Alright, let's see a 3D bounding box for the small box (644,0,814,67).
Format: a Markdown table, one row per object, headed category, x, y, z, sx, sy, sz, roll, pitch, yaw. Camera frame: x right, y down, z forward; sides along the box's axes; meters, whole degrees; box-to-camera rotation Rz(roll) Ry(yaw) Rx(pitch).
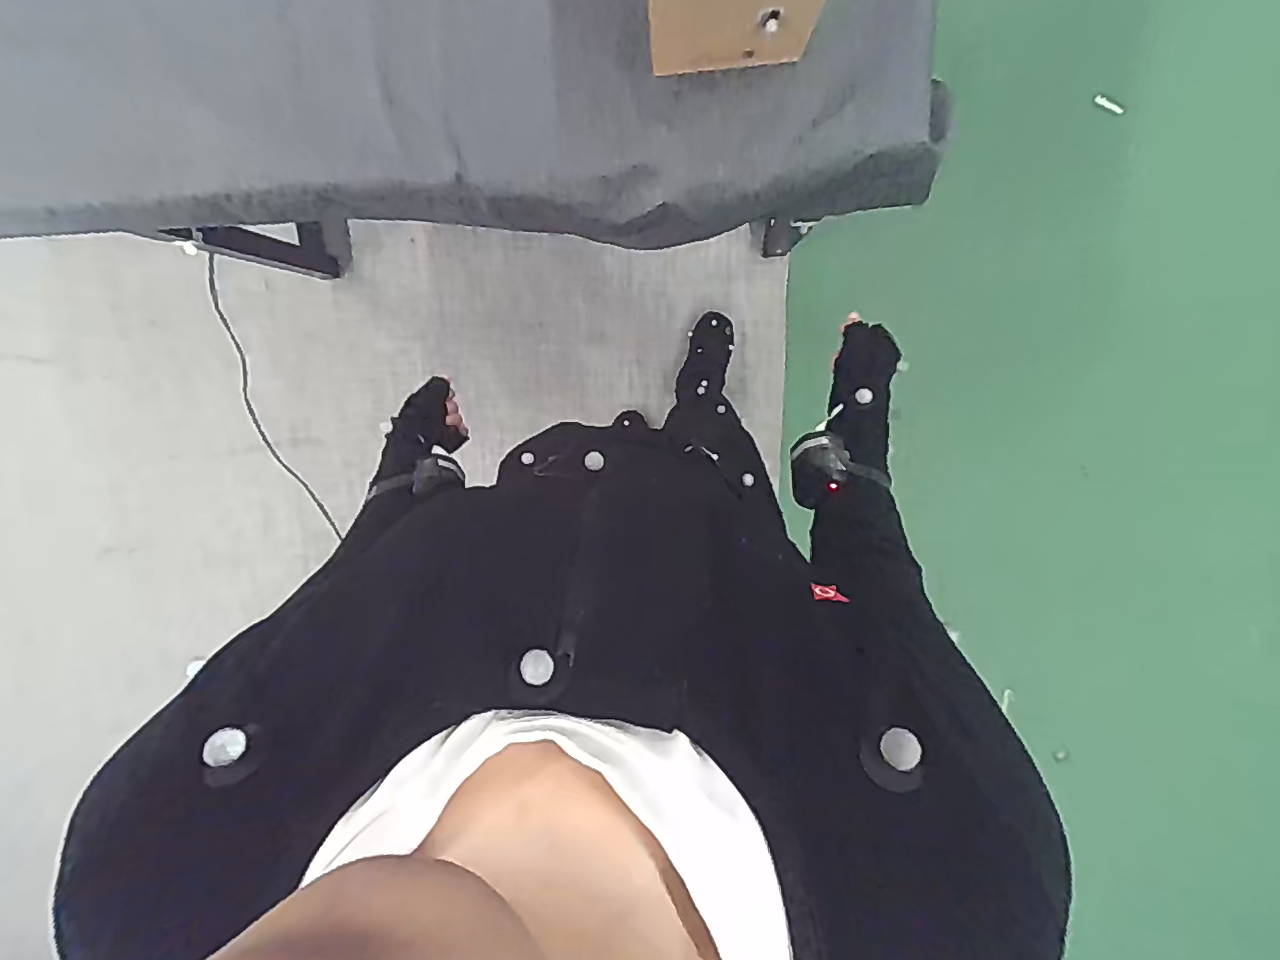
| category | x | y | z | sx | sy | sz | roll | pitch | yaw |
| --- | --- | --- | --- | --- | --- | --- | --- | --- | --- |
| small box | 0.084 | -0.532 | 0.516 | 0.168 | 0.176 | 0.179 | -3 | 100 | 3 |
